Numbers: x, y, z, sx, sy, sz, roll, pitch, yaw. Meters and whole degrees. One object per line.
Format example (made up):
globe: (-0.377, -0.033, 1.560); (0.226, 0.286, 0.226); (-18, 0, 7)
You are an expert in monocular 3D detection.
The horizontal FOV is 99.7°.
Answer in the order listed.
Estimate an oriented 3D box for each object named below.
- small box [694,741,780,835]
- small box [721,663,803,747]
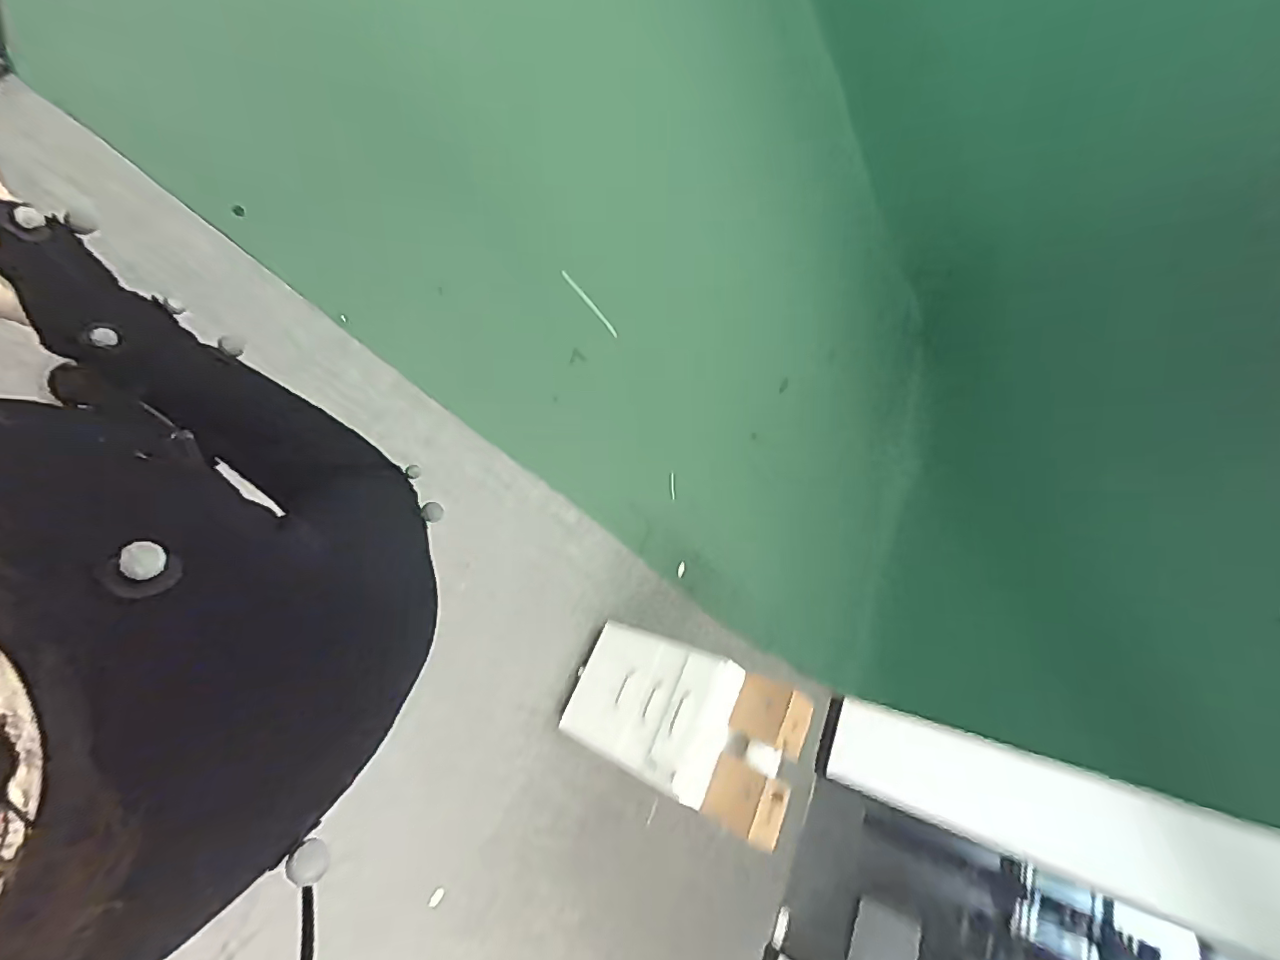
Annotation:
small box: (0.284, 0.904, 1.599); (0.168, 0.176, 0.179); (47, 60, -37)
small box: (0.377, 0.695, 1.683); (0.168, 0.176, 0.179); (45, 62, -37)
